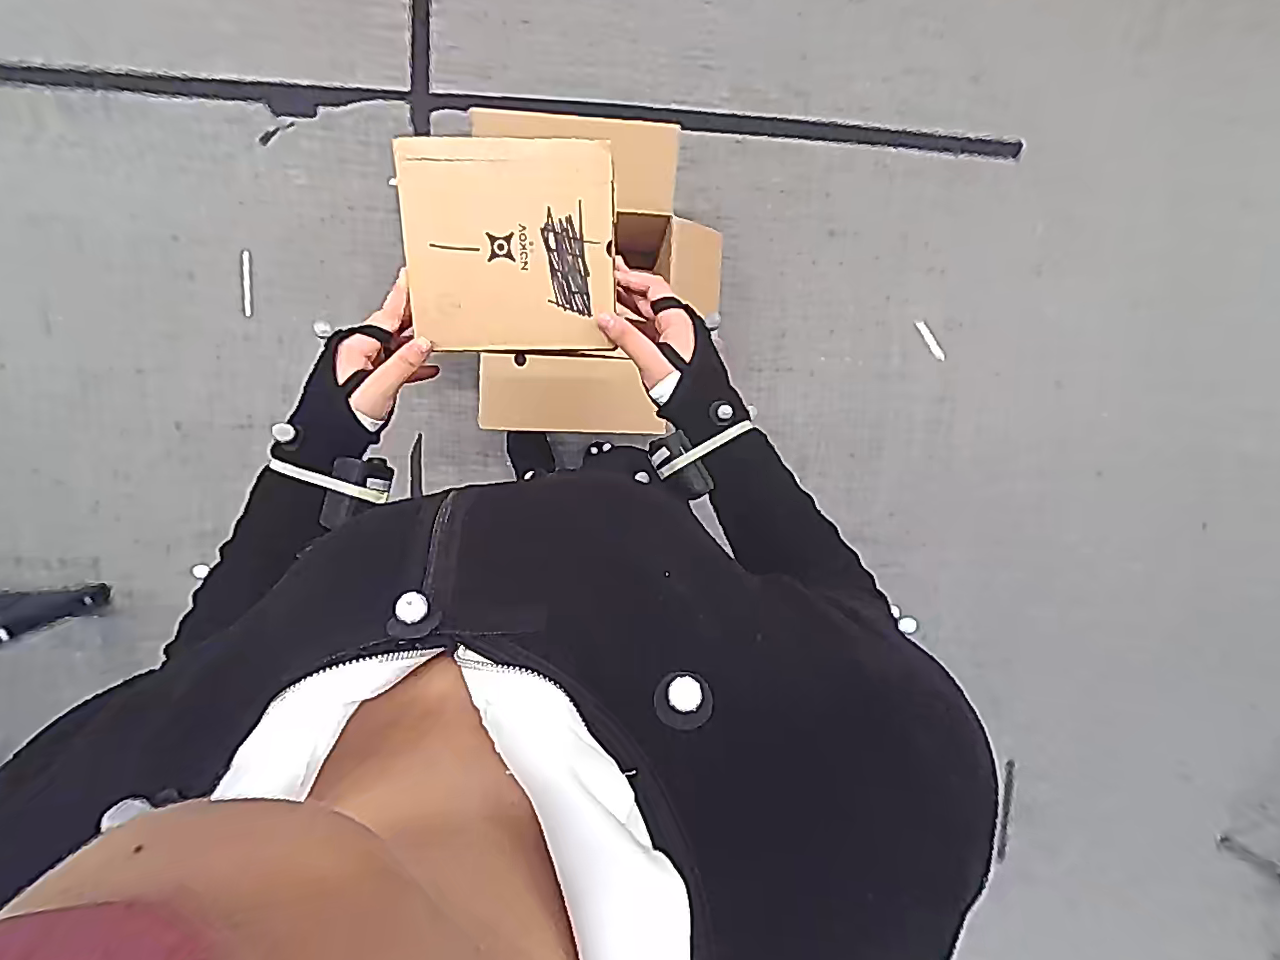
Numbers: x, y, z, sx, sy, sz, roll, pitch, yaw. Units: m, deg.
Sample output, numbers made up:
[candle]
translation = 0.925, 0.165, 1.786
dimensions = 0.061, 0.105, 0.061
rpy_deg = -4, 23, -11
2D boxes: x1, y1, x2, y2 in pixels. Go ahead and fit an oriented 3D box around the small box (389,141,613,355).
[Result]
[small box]
translation = -0.118, -0.210, 0.528
dimensions = 0.179, 0.176, 0.168
rpy_deg = -2, 104, -3
